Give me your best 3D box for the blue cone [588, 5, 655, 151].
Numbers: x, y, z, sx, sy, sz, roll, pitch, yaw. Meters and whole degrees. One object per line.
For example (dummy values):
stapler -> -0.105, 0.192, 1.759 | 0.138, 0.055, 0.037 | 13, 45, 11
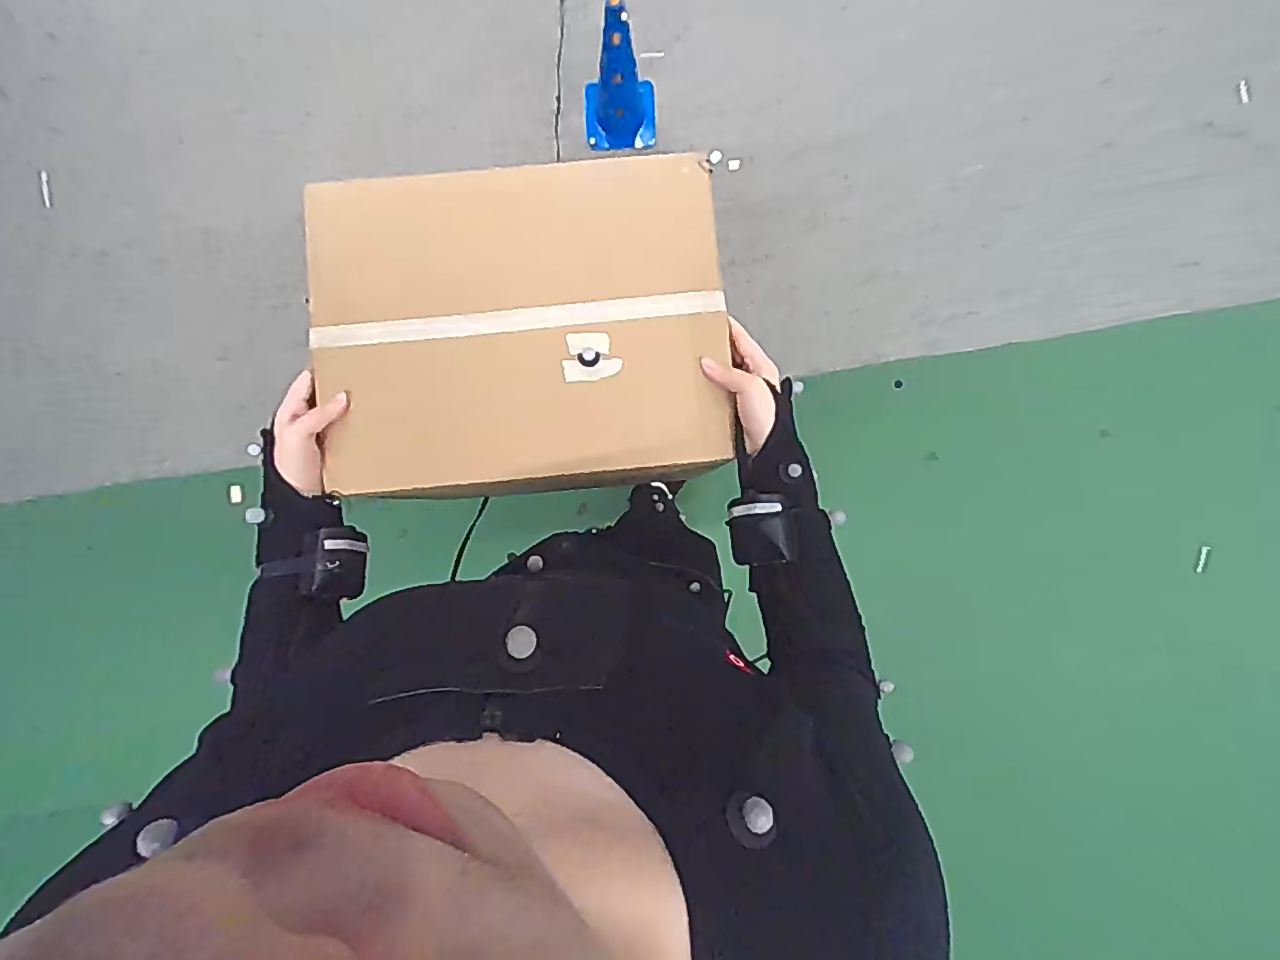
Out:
blue cone -> -0.053, -1.047, 1.391 | 0.193, 0.380, 0.192 | -1, 88, 0

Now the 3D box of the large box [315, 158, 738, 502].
large box -> -0.120, -0.149, 0.688 | 0.408, 0.320, 0.320 | -6, 87, -2
